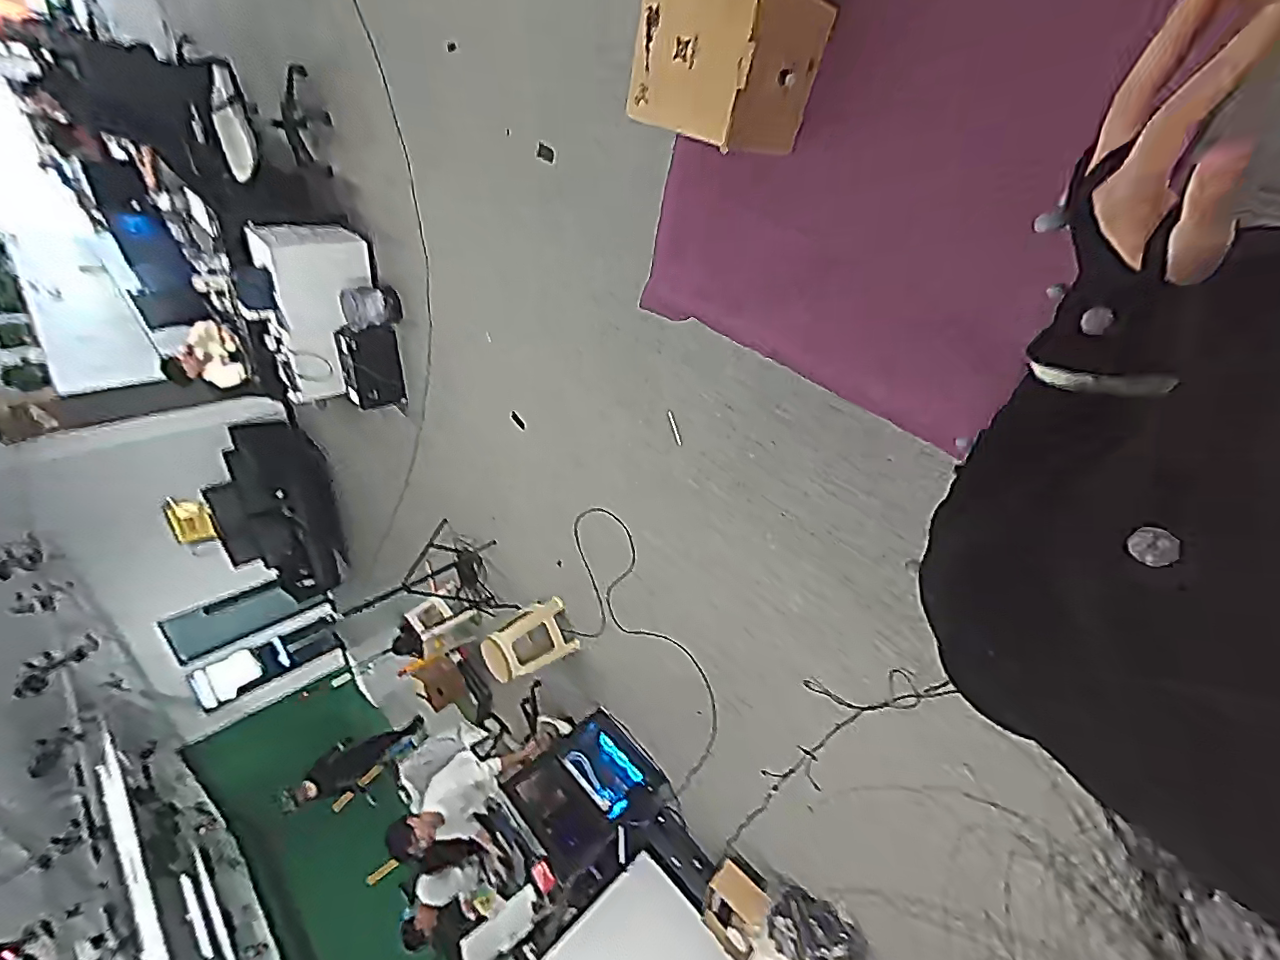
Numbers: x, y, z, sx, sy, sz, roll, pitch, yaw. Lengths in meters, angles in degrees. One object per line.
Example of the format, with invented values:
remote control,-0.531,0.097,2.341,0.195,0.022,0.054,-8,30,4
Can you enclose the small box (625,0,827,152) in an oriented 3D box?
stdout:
small box,0.111,-0.539,0.701,0.179,0.176,0.168,37,133,27
